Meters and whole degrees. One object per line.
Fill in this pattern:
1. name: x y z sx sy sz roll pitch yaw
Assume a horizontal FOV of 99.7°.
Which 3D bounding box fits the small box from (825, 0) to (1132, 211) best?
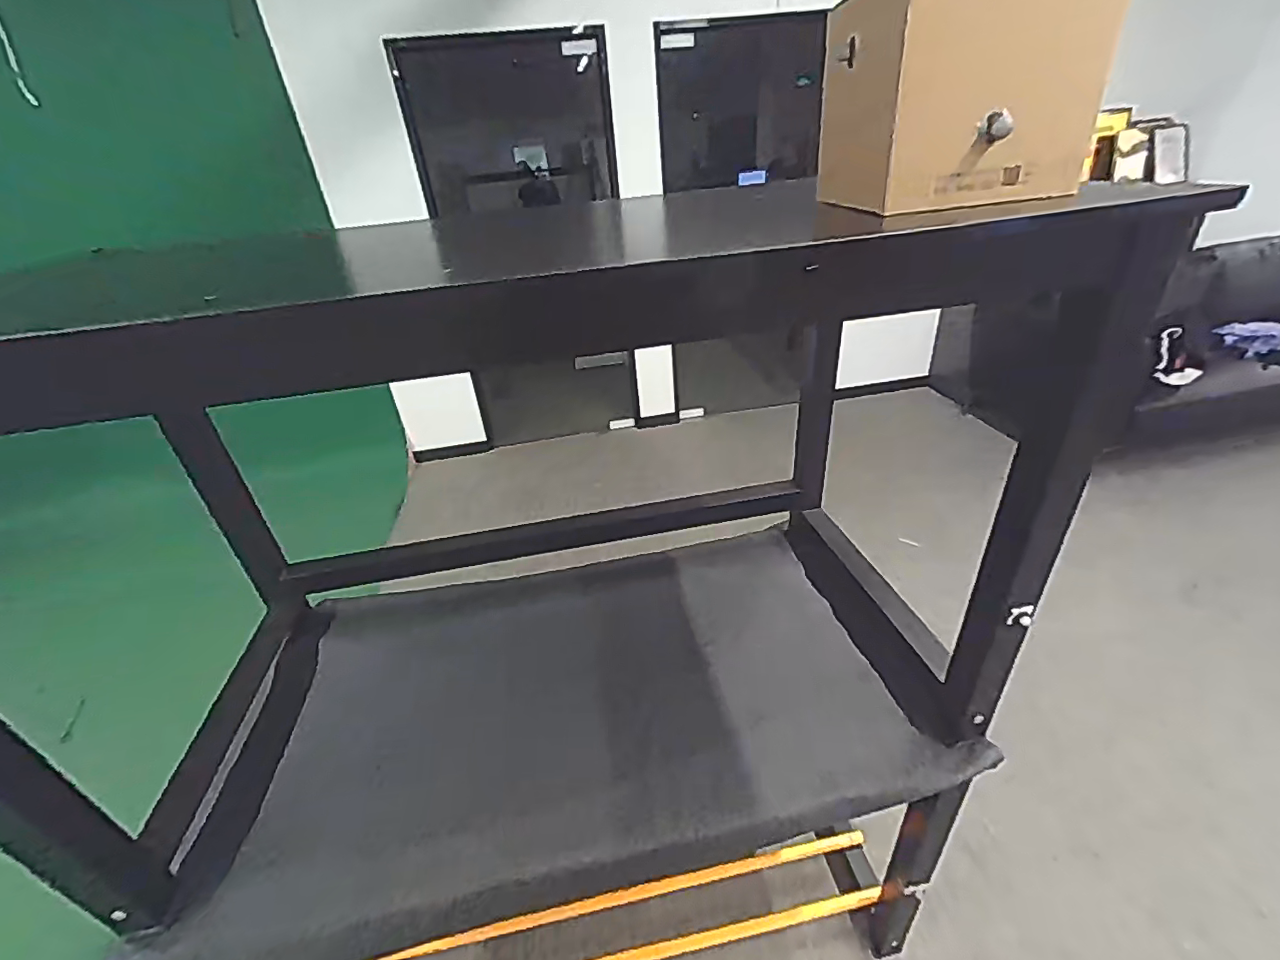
1. small box: 0.278 -0.345 0.489 0.168 0.176 0.179 -6 31 1
